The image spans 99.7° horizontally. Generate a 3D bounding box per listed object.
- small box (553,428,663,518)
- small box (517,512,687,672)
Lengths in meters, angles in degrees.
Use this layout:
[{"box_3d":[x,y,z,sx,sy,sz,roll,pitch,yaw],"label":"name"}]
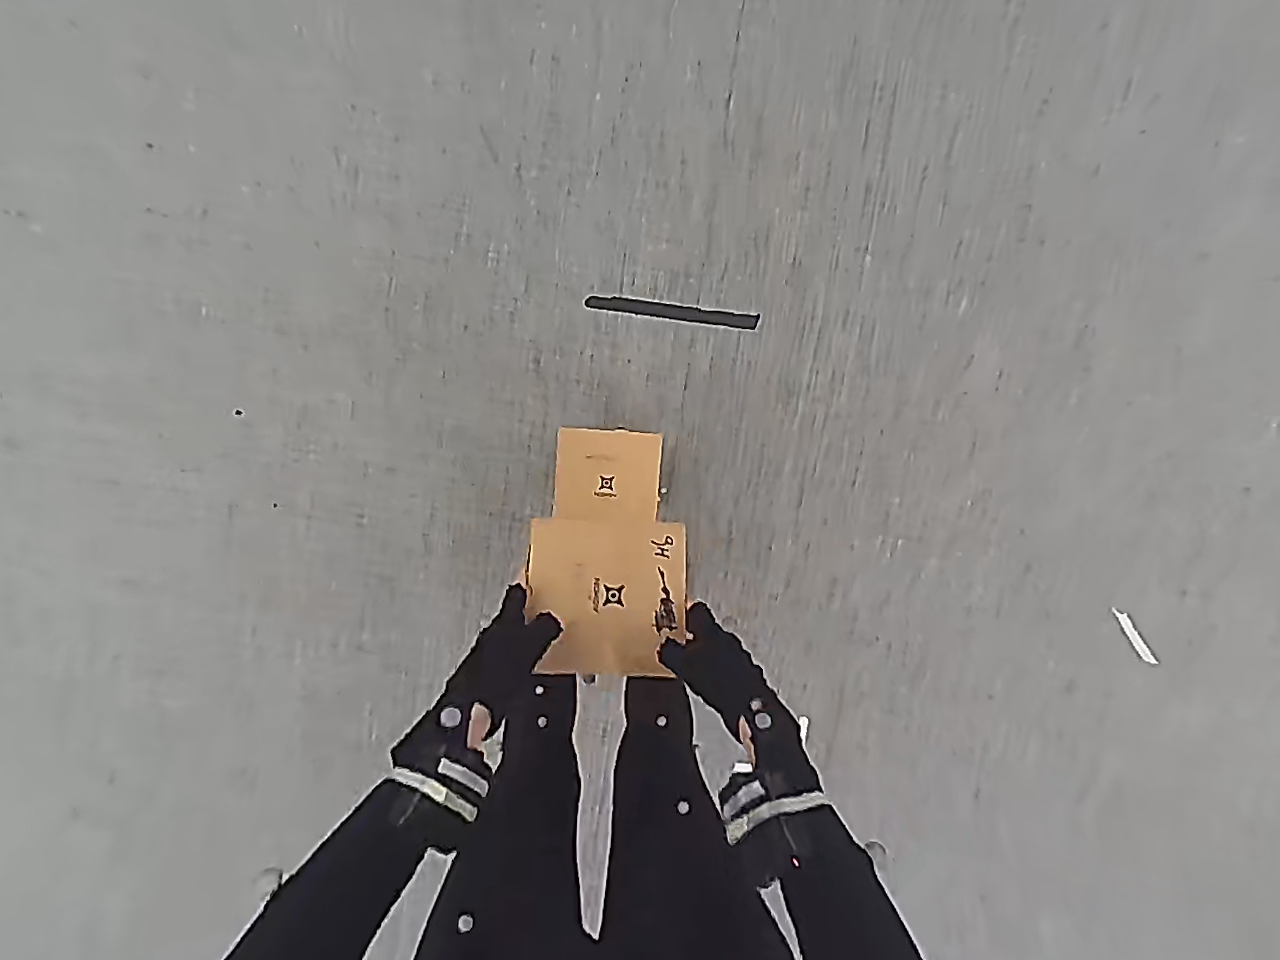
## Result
[{"box_3d":[-0.052,0.004,0.925,0.168,0.176,0.179,4,95,-1],"label":"small box"},{"box_3d":[-0.039,0.141,0.657,0.179,0.176,0.168,3,73,-2],"label":"small box"}]
